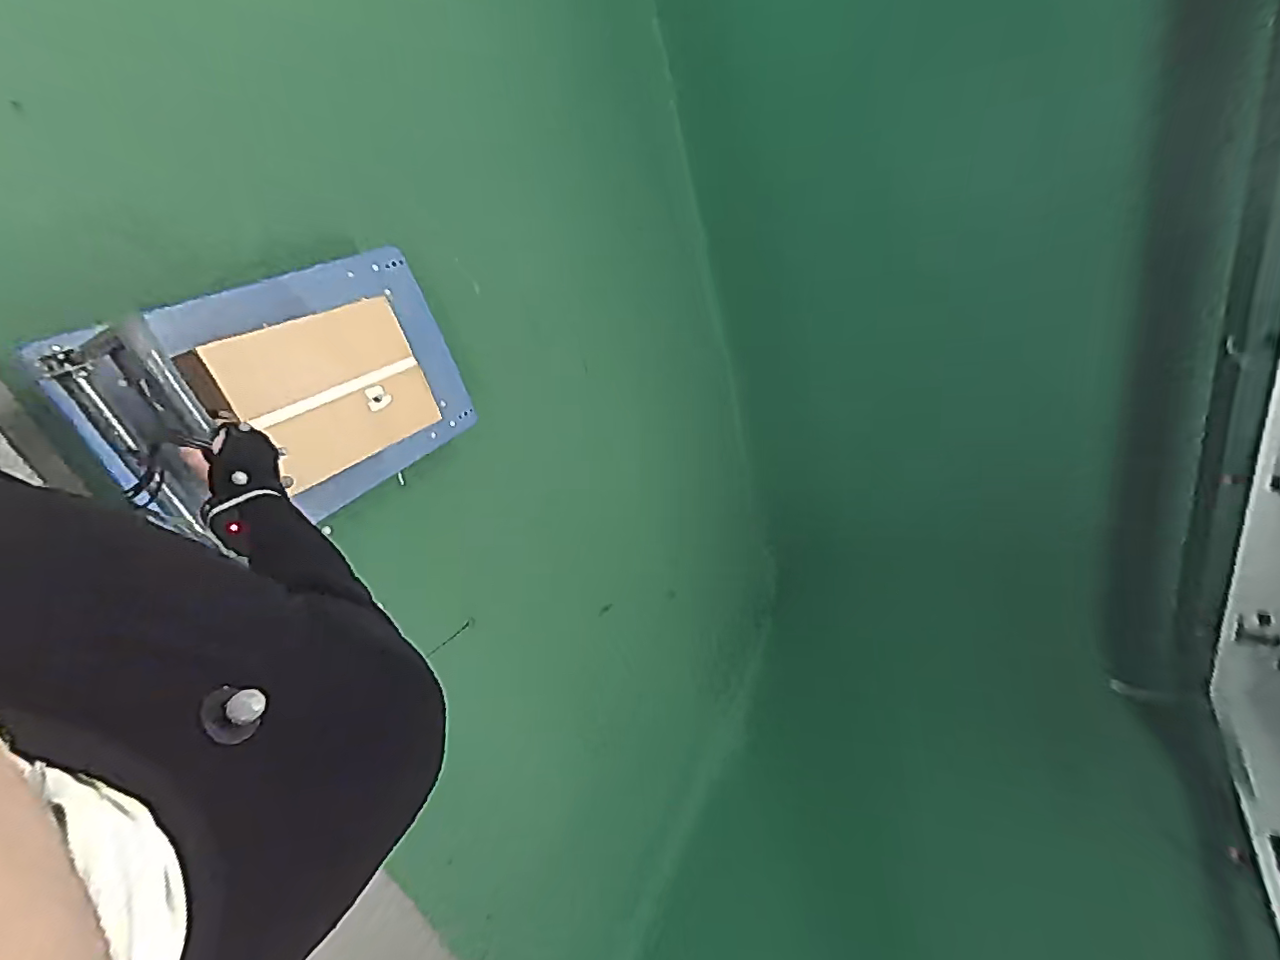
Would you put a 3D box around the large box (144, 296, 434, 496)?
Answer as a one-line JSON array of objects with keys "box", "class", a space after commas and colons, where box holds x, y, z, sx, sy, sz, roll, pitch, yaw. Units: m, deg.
[{"box": [-0.780, -0.191, 1.243, 0.408, 0.320, 0.320, -44, 125, -46], "class": "large box"}]
